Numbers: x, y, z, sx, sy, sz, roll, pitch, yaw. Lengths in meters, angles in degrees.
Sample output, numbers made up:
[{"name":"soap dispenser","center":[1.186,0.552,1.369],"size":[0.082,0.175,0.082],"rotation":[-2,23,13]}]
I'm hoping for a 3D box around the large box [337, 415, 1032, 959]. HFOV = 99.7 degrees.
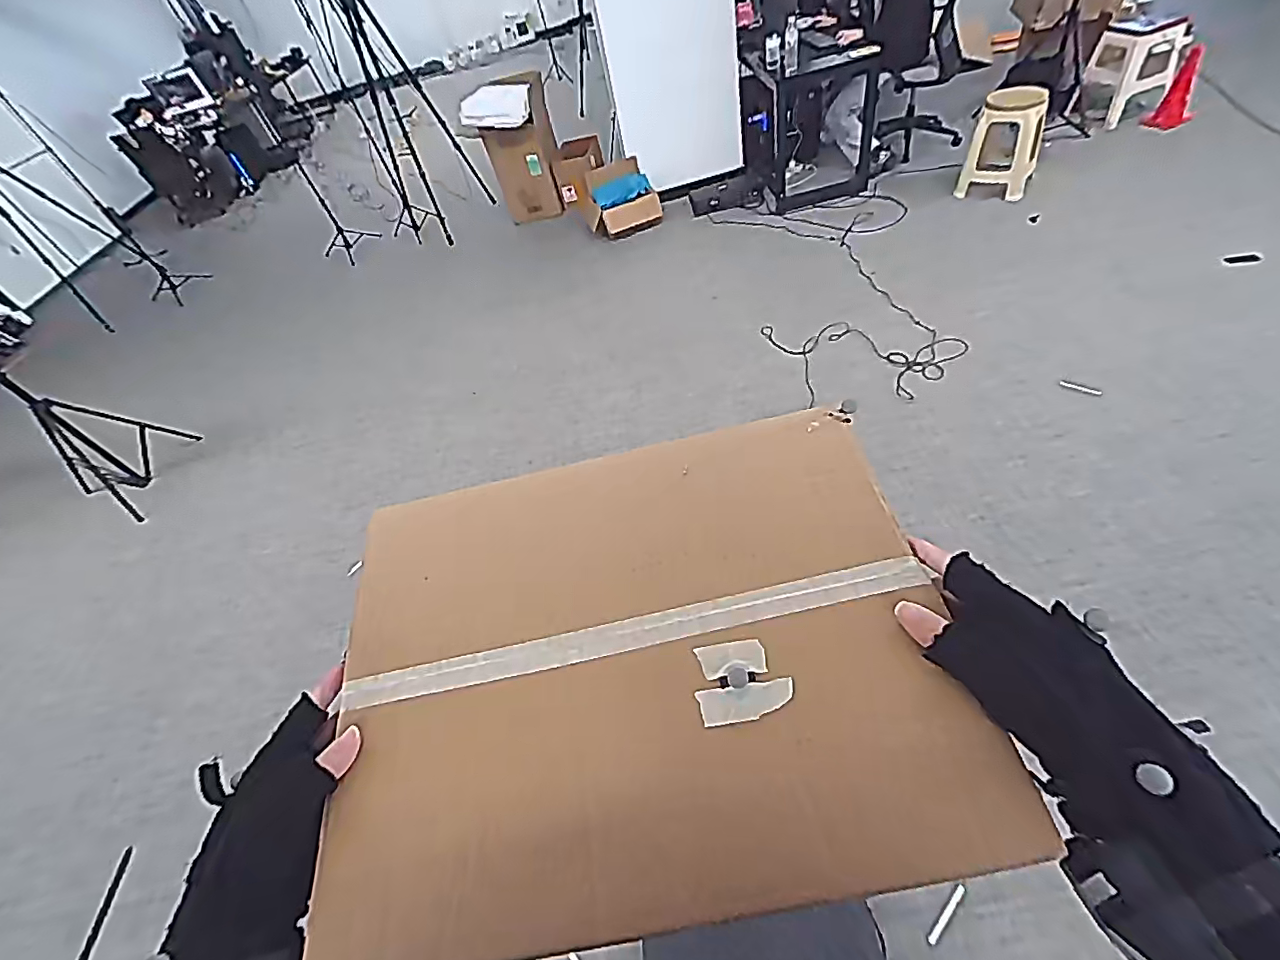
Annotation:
[{"name":"large box","center":[0.019,0.193,0.503],"size":[0.408,0.320,0.320],"rotation":[-13,55,2]}]
